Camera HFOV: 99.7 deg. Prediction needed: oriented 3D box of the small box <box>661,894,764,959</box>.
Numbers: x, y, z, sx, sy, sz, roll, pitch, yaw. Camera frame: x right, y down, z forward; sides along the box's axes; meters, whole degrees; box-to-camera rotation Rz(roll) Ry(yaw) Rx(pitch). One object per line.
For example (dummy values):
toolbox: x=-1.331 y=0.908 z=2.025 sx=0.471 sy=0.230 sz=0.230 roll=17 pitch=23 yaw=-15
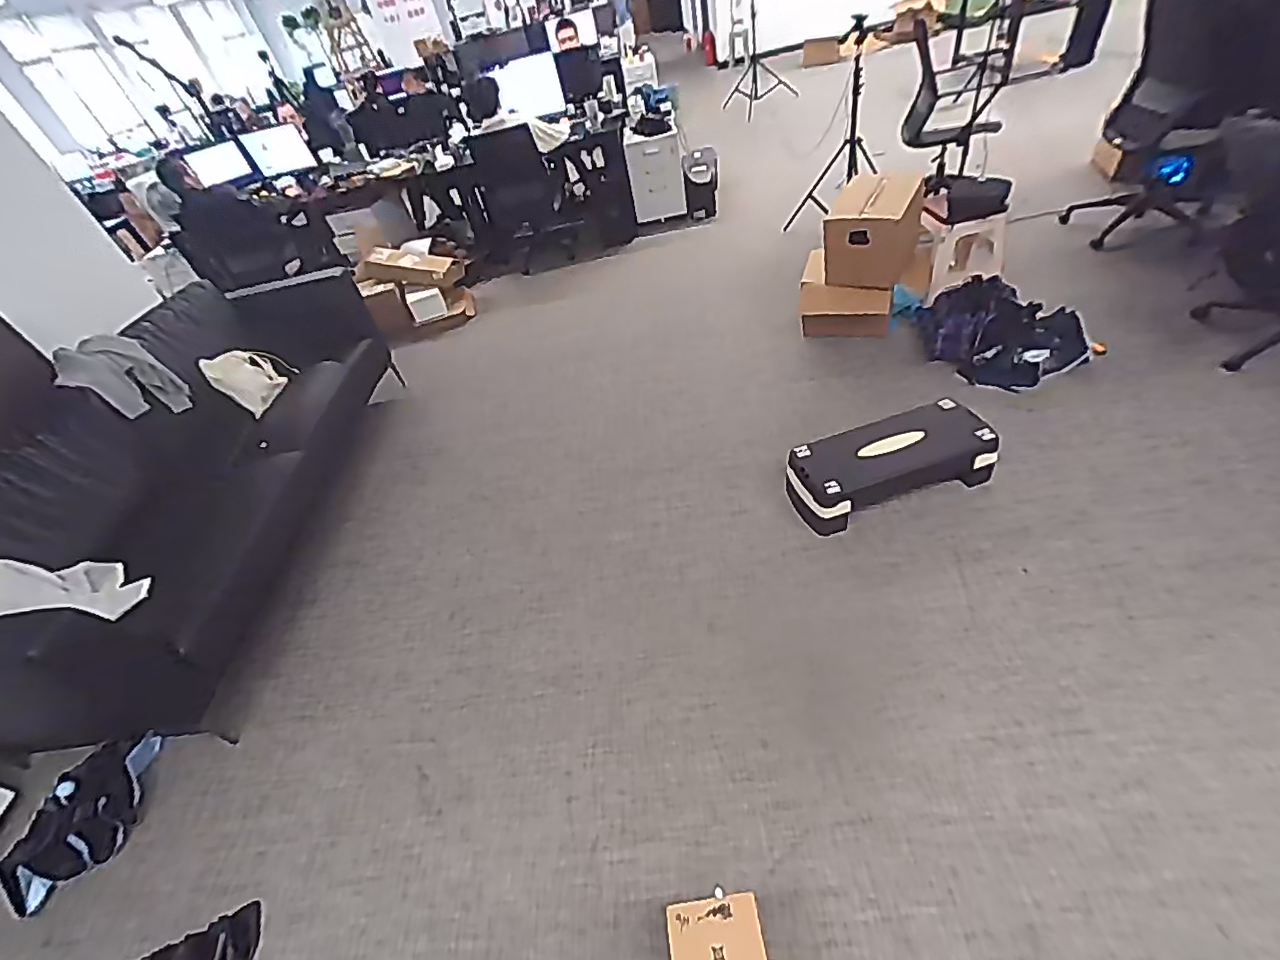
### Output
small box: x=0.142 y=0.885 z=0.985 sx=0.168 sy=0.176 sz=0.179 roll=-12 pitch=44 yaw=3
